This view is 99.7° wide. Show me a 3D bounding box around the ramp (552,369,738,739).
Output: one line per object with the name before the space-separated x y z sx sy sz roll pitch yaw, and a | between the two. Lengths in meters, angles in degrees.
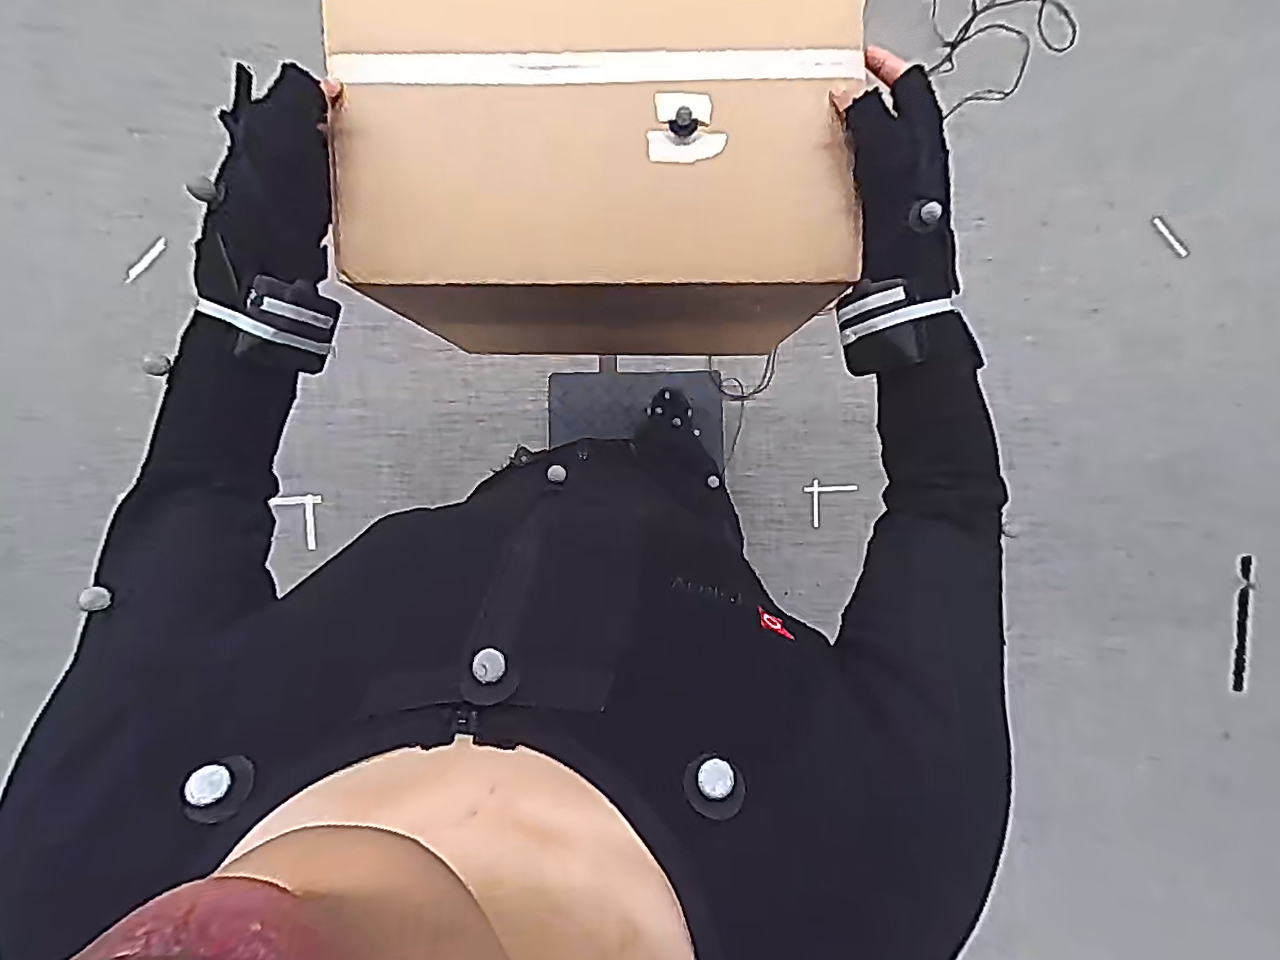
ramp | 0.002 0.180 1.483 0.509 0.206 0.991 -3 92 1

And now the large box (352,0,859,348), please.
large box | -0.029 -0.327 0.572 0.408 0.320 0.320 0 93 0
